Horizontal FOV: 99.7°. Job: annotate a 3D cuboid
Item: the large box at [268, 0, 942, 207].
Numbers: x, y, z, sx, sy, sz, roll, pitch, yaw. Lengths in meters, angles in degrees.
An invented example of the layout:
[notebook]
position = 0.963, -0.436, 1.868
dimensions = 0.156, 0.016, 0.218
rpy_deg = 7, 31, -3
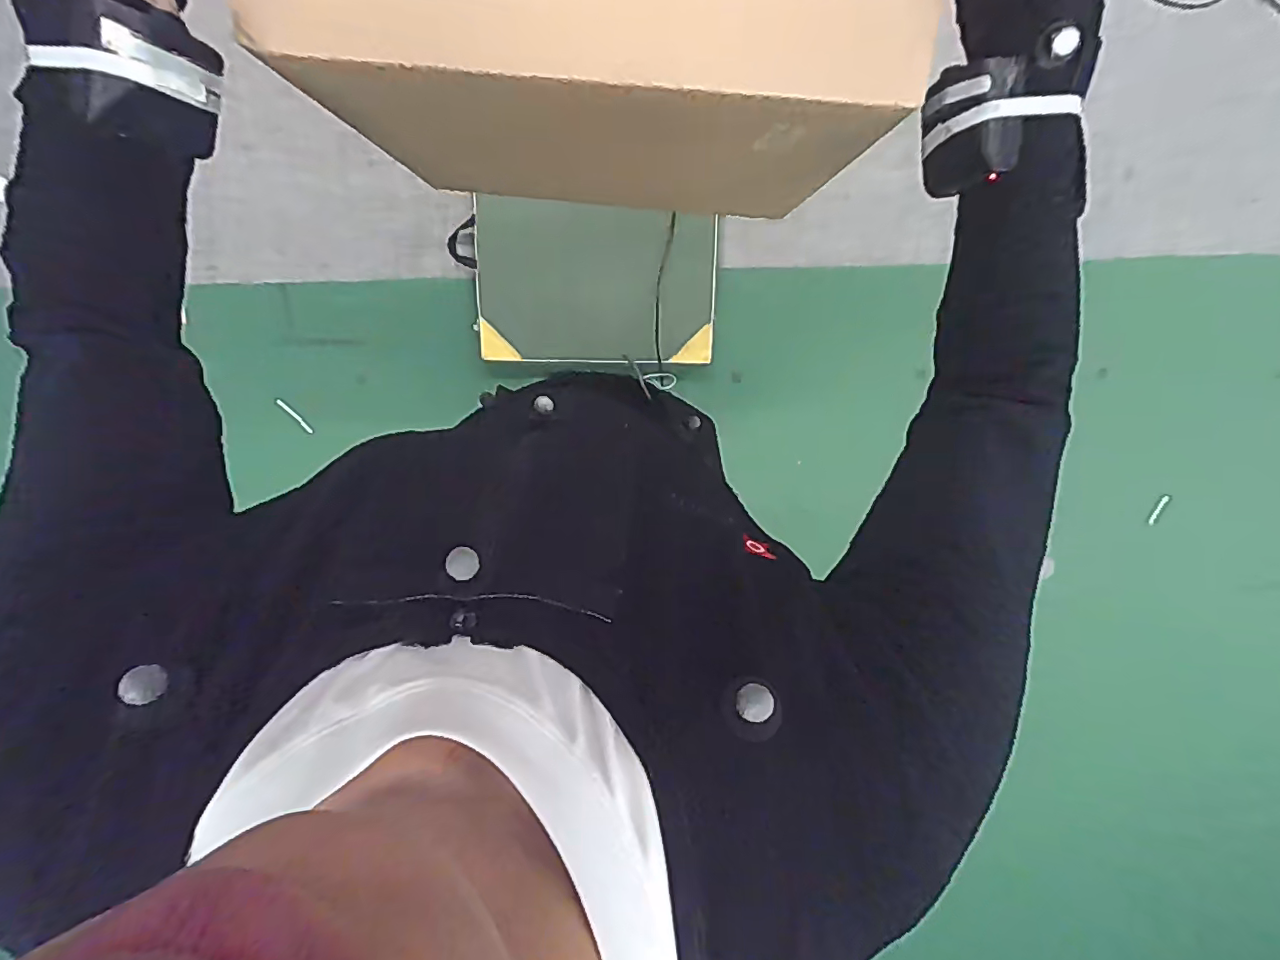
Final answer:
[large box]
position = -0.017, -0.431, 0.433
dimensions = 0.408, 0.320, 0.320
rpy_deg = 3, 105, -3
